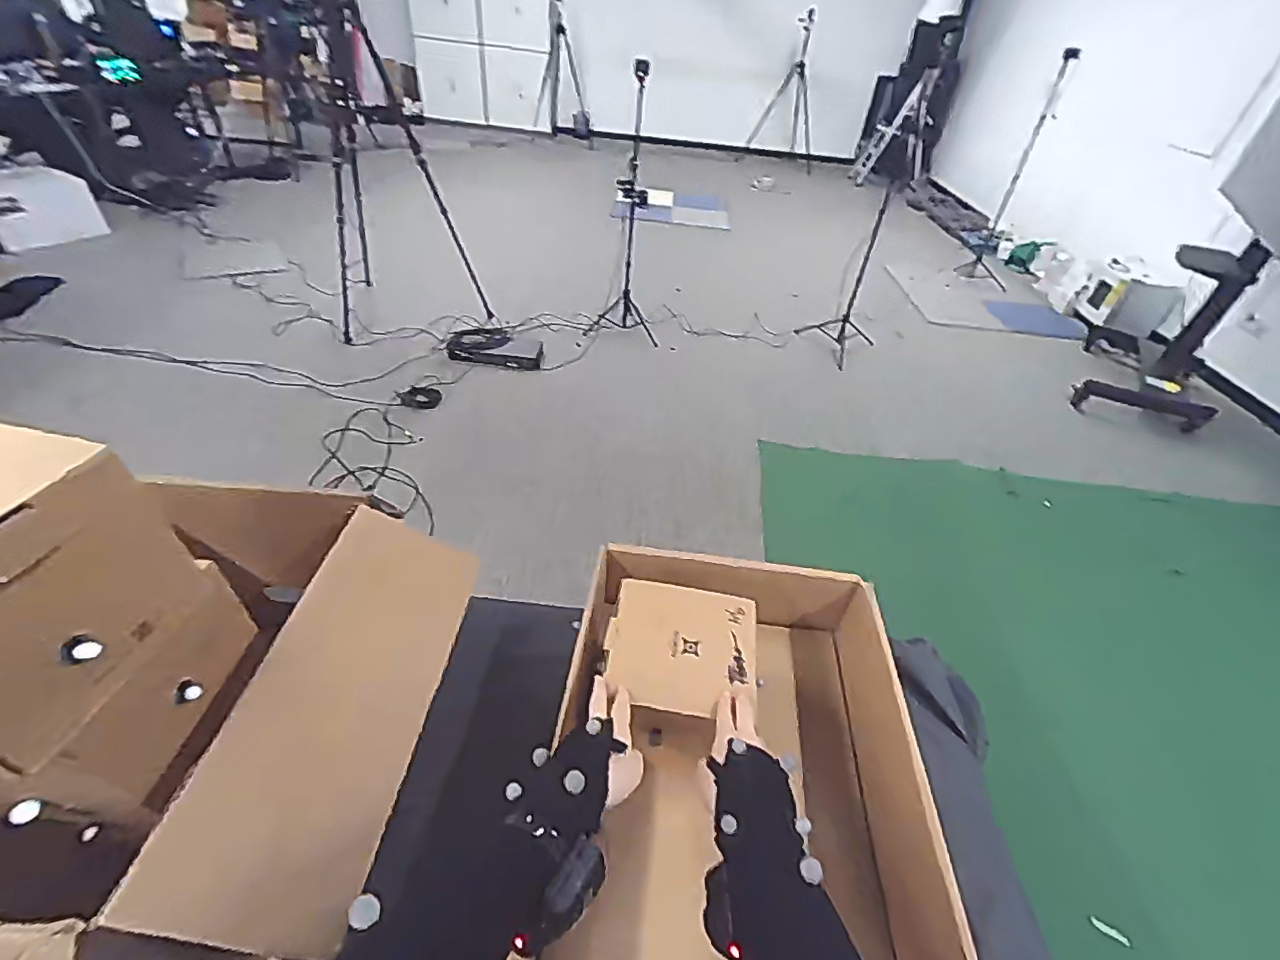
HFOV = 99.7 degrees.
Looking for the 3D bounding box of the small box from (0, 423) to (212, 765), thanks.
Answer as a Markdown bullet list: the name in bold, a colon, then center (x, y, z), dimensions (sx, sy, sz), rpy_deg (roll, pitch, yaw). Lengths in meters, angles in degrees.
- **small box**: center (-0.471, 0.075, 0.384), dimensions (0.179, 0.176, 0.168), rpy_deg (11, 42, 4)
